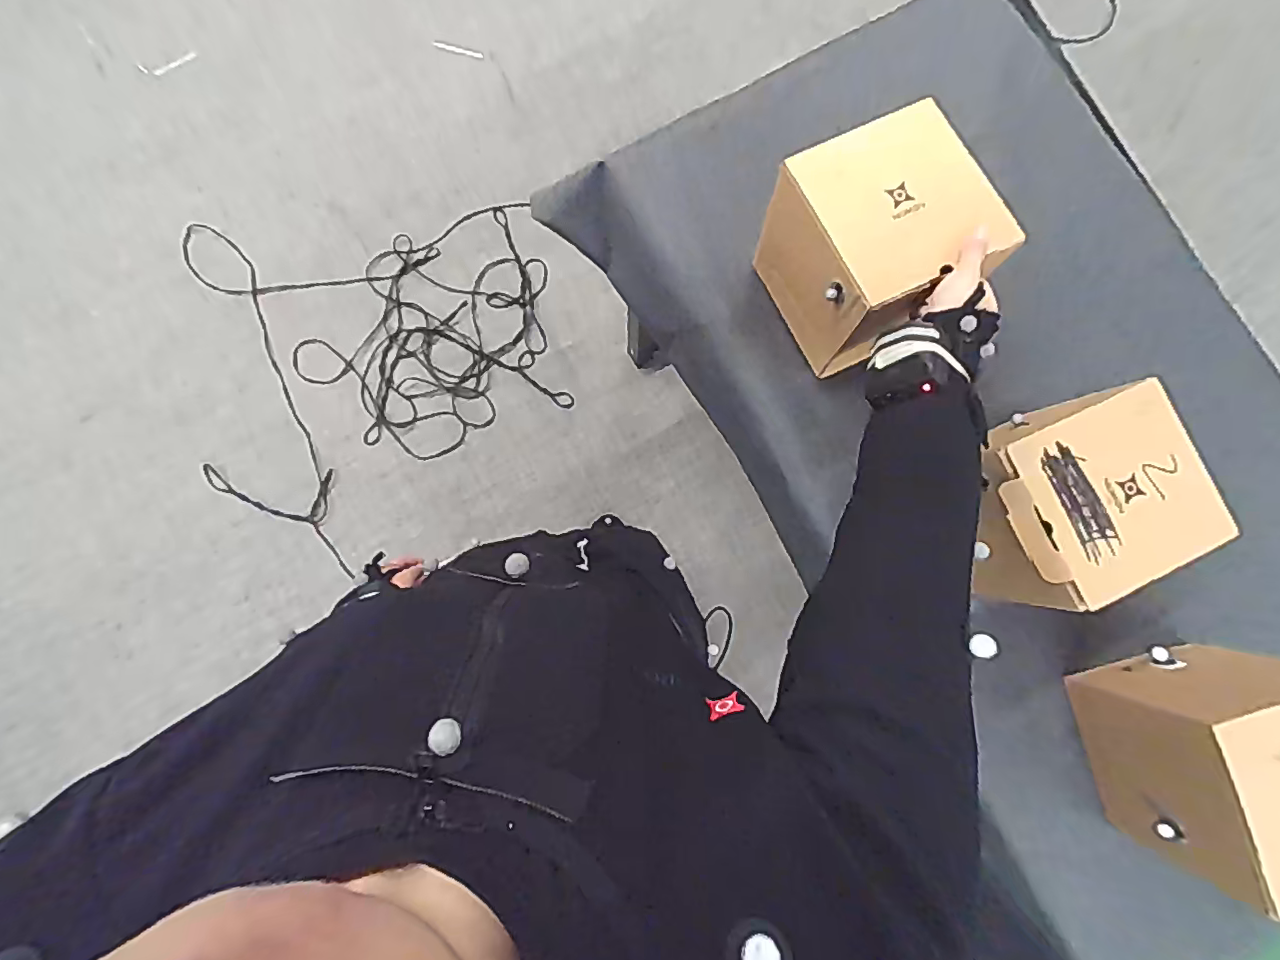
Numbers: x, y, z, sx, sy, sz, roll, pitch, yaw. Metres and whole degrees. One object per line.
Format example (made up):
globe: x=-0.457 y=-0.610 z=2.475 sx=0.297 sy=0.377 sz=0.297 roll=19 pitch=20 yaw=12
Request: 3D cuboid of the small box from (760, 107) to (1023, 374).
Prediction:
small box: x=0.251 y=-0.246 z=0.593 sx=0.168 sy=0.176 sz=0.179 roll=-25 pitch=80 yaw=-4

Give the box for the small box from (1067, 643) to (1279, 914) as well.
small box: x=0.609 y=0.289 z=0.567 sx=0.168 sy=0.176 sz=0.179 roll=-14 pitch=84 yaw=-4
